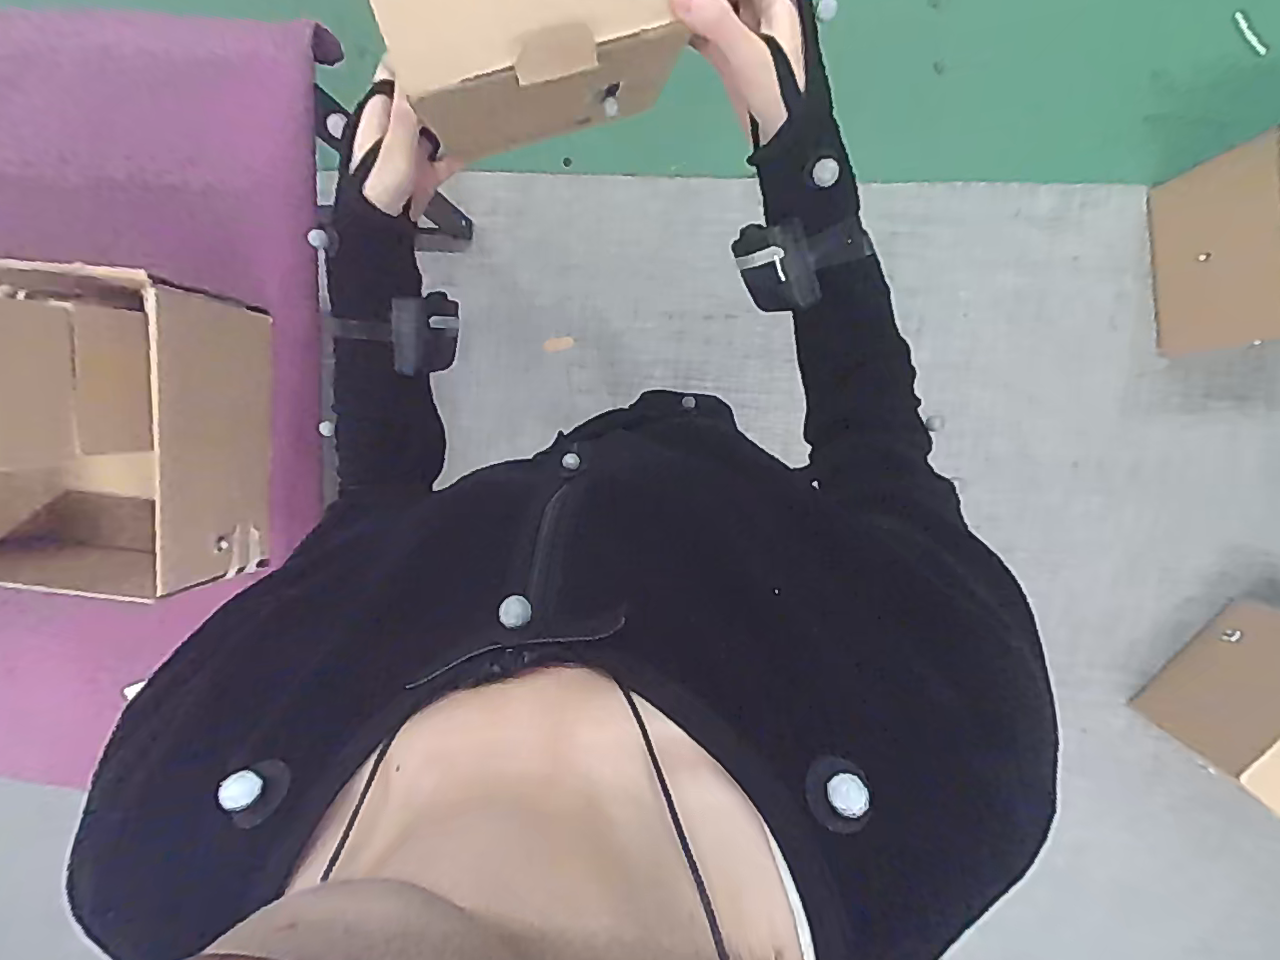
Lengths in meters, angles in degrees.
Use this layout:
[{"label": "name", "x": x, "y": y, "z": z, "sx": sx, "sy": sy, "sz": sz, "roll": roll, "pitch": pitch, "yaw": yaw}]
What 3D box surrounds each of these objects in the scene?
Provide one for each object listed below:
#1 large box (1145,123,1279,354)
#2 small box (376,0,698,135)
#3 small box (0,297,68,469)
[{"label": "large box", "x": 1.400, "y": -0.520, "z": 1.170, "sx": 0.320, "sy": 0.320, "sz": 0.408, "roll": -10, "pitch": 94, "yaw": 5}, {"label": "small box", "x": -0.075, "y": -0.332, "z": 0.325, "sx": 0.168, "sy": 0.176, "sz": 0.179, "roll": -17, "pitch": 112, "yaw": -3}, {"label": "small box", "x": -0.720, "y": -0.104, "z": 0.524, "sx": 0.168, "sy": 0.176, "sz": 0.179, "roll": 8, "pitch": 99, "yaw": 5}]
